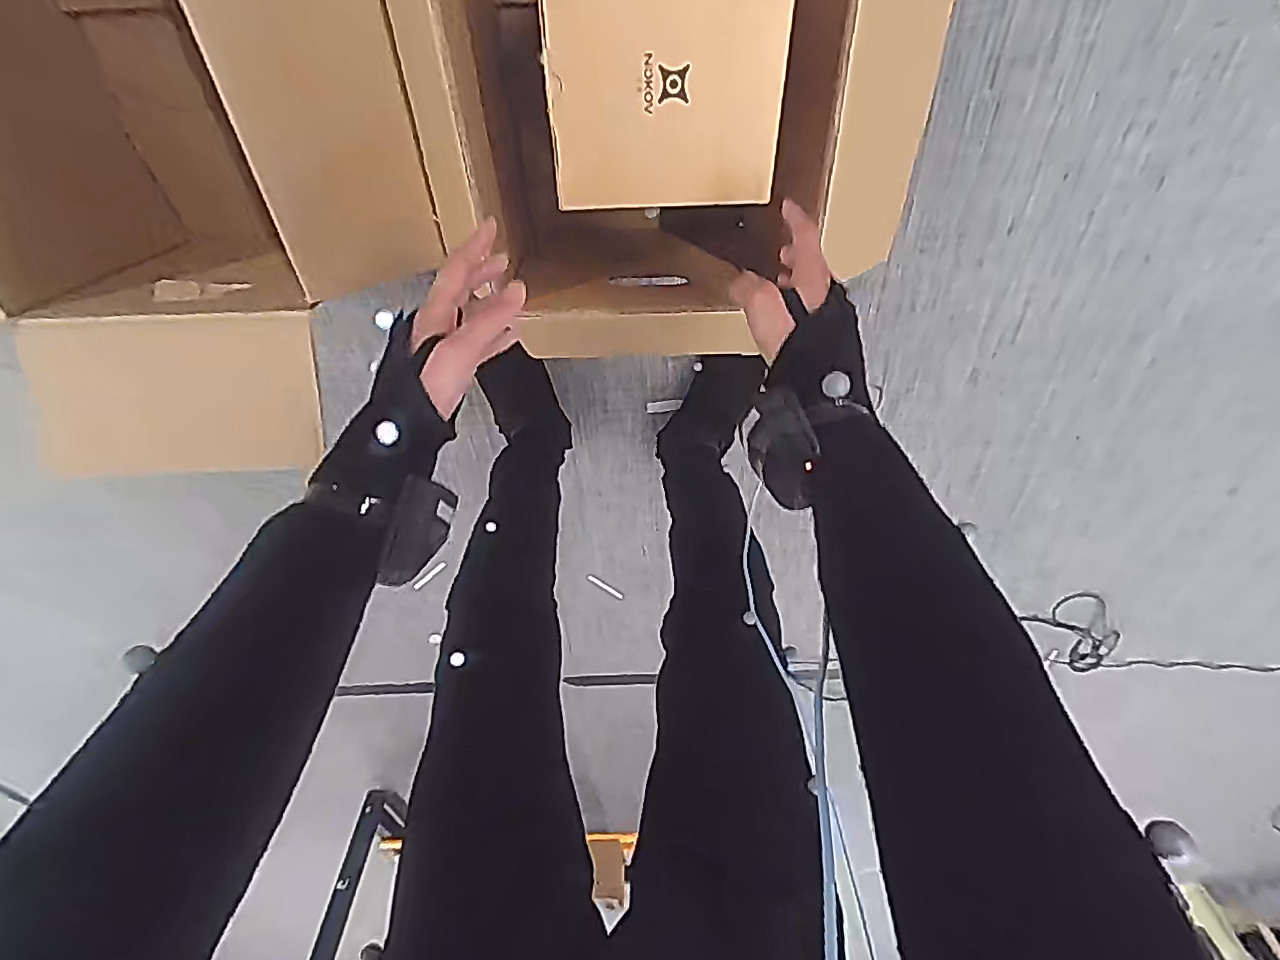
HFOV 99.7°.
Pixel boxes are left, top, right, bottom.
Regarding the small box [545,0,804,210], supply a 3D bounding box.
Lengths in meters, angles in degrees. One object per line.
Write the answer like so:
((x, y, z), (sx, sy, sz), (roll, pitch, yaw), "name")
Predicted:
((0.019, -0.335, 0.446), (0.179, 0.176, 0.168), (-2, 130, -2), "small box")

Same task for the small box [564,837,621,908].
((-0.158, 1.362, 1.878), (0.179, 0.176, 0.168), (-3, 129, 5), "small box")
